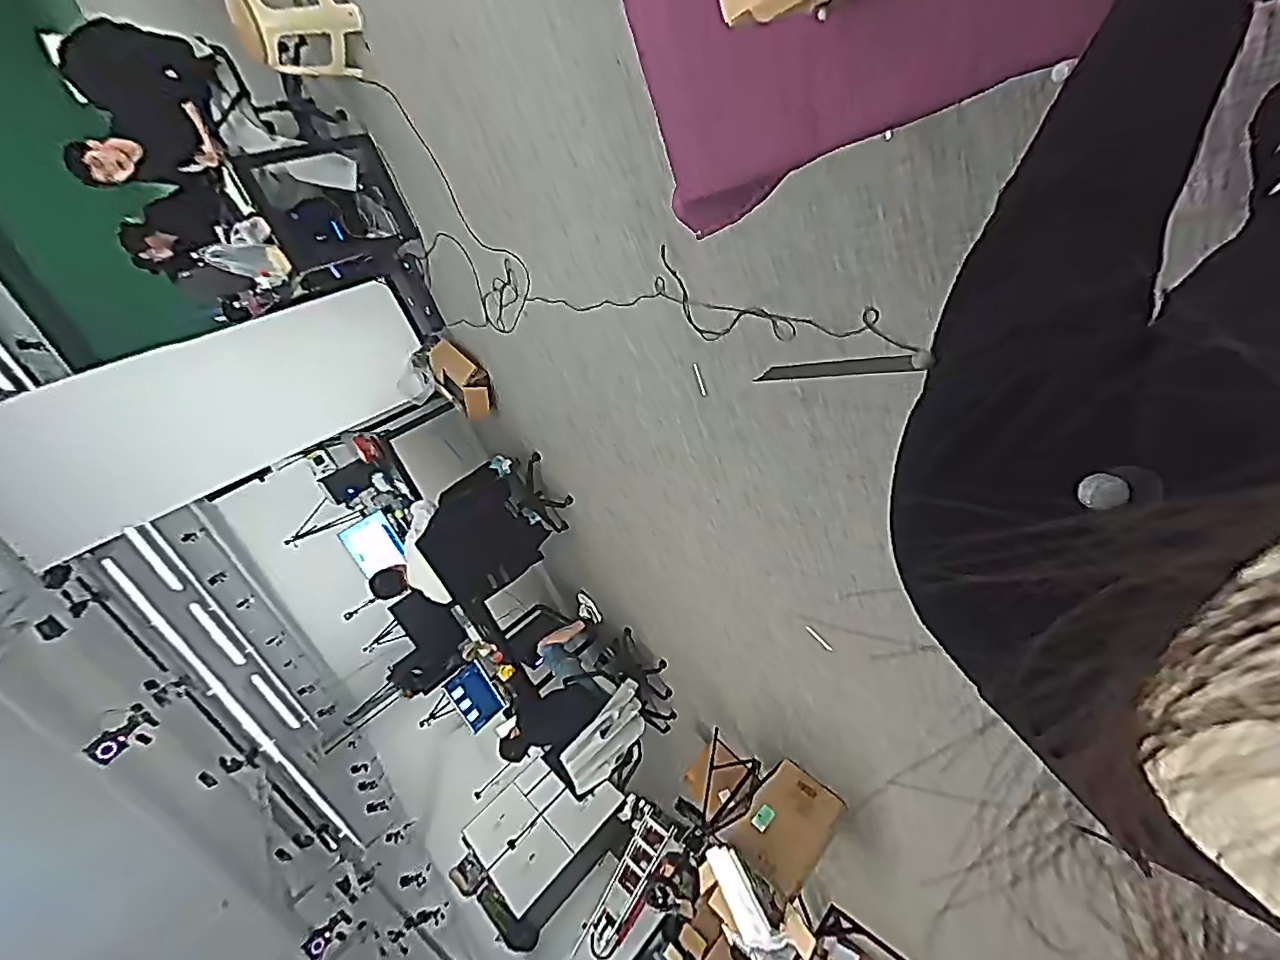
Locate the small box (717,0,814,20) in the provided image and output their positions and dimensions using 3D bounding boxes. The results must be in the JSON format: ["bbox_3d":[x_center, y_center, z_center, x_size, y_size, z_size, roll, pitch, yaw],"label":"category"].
[{"bbox_3d":[0.167,-0.575,0.501,0.168,0.176,0.179,12,129,48],"label":"small box"}]
